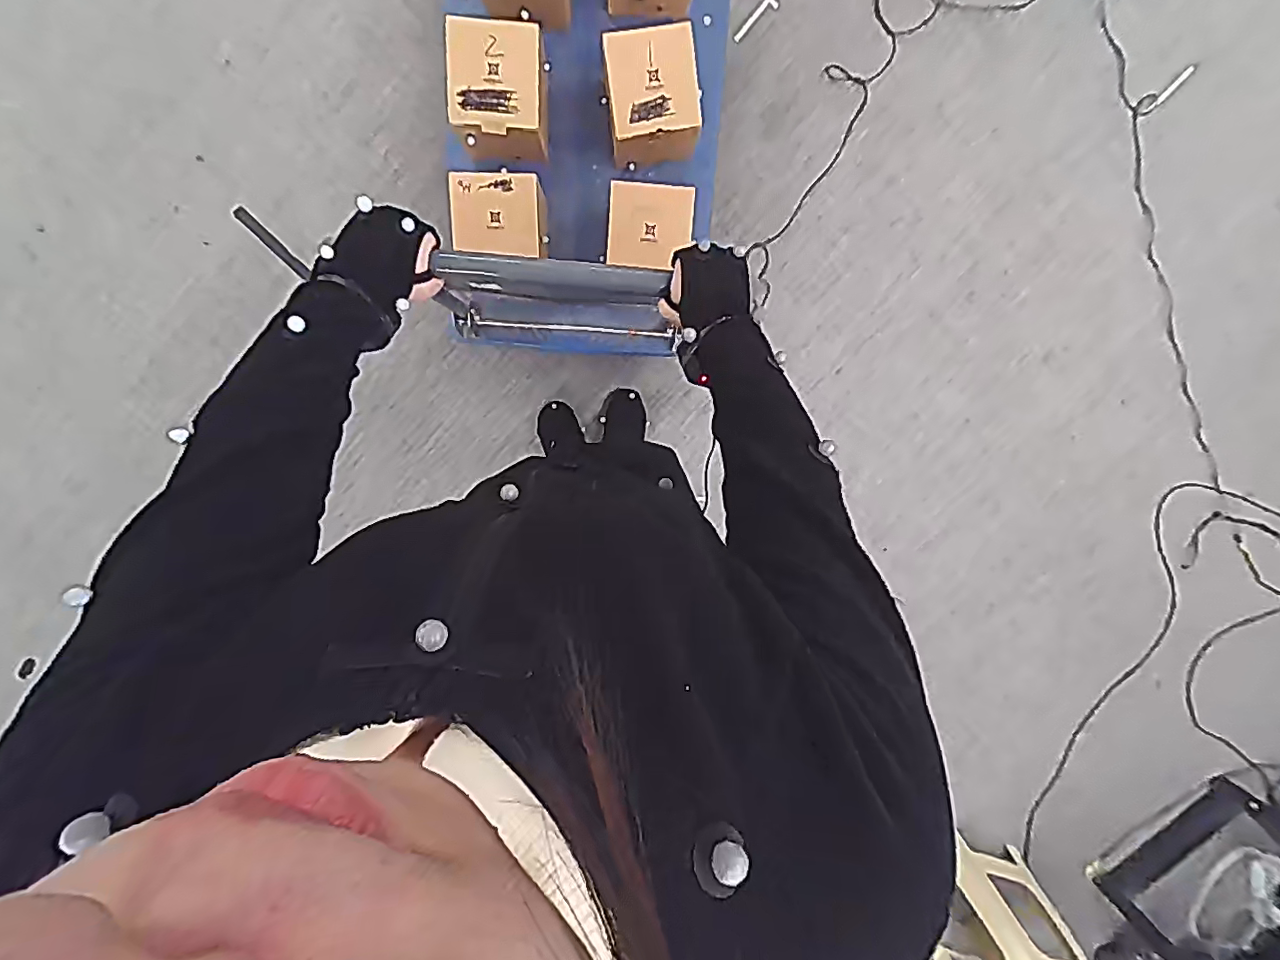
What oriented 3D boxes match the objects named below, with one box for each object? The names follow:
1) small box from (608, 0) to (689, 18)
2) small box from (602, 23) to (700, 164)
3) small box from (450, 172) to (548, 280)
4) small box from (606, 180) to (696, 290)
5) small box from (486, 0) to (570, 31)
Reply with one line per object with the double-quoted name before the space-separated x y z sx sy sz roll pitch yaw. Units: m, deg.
"small box" 0.020 -1.020 1.019 0.168 0.176 0.179 0 102 -3
"small box" 0.019 -0.754 1.078 0.168 0.176 0.179 -9 102 -2
"small box" -0.281 -0.512 1.113 0.168 0.176 0.179 -1 103 -4
"small box" 0.016 -0.502 1.135 0.168 0.176 0.179 3 102 -5
"small box" -0.213 -0.994 1.007 0.168 0.176 0.179 5 103 -5
